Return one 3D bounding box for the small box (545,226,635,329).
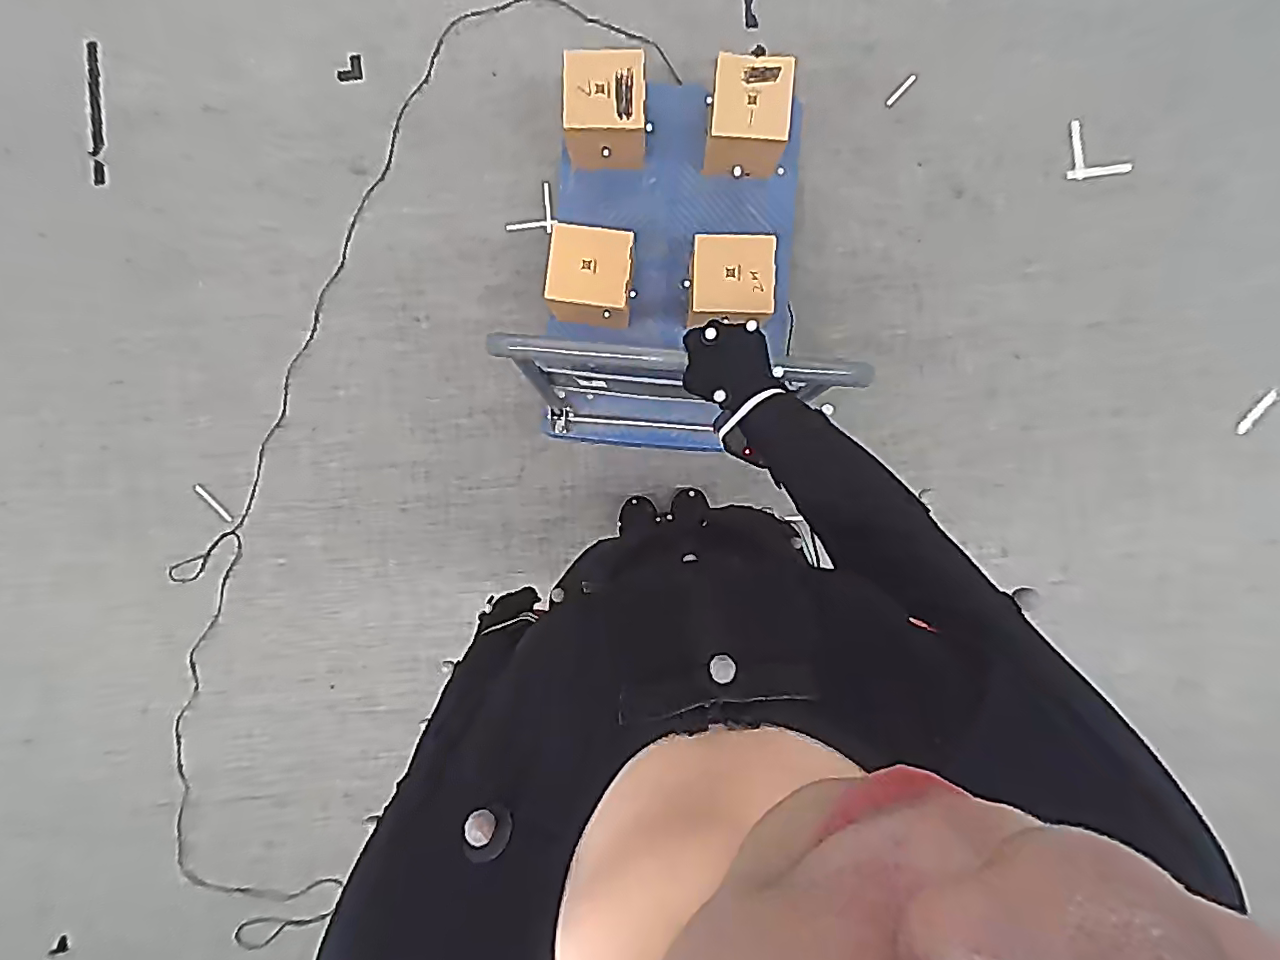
[{"bbox_3d":[-0.108,-0.453,1.235,0.179,0.176,0.168,7,90,-1],"label":"small box"}]

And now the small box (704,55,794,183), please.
[{"bbox_3d":[0.238,-0.807,1.223,0.168,0.176,0.179,5,92,1],"label":"small box"}]

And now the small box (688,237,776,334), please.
[{"bbox_3d":[0.201,-0.436,1.230,0.179,0.176,0.168,2,91,1],"label":"small box"}]
